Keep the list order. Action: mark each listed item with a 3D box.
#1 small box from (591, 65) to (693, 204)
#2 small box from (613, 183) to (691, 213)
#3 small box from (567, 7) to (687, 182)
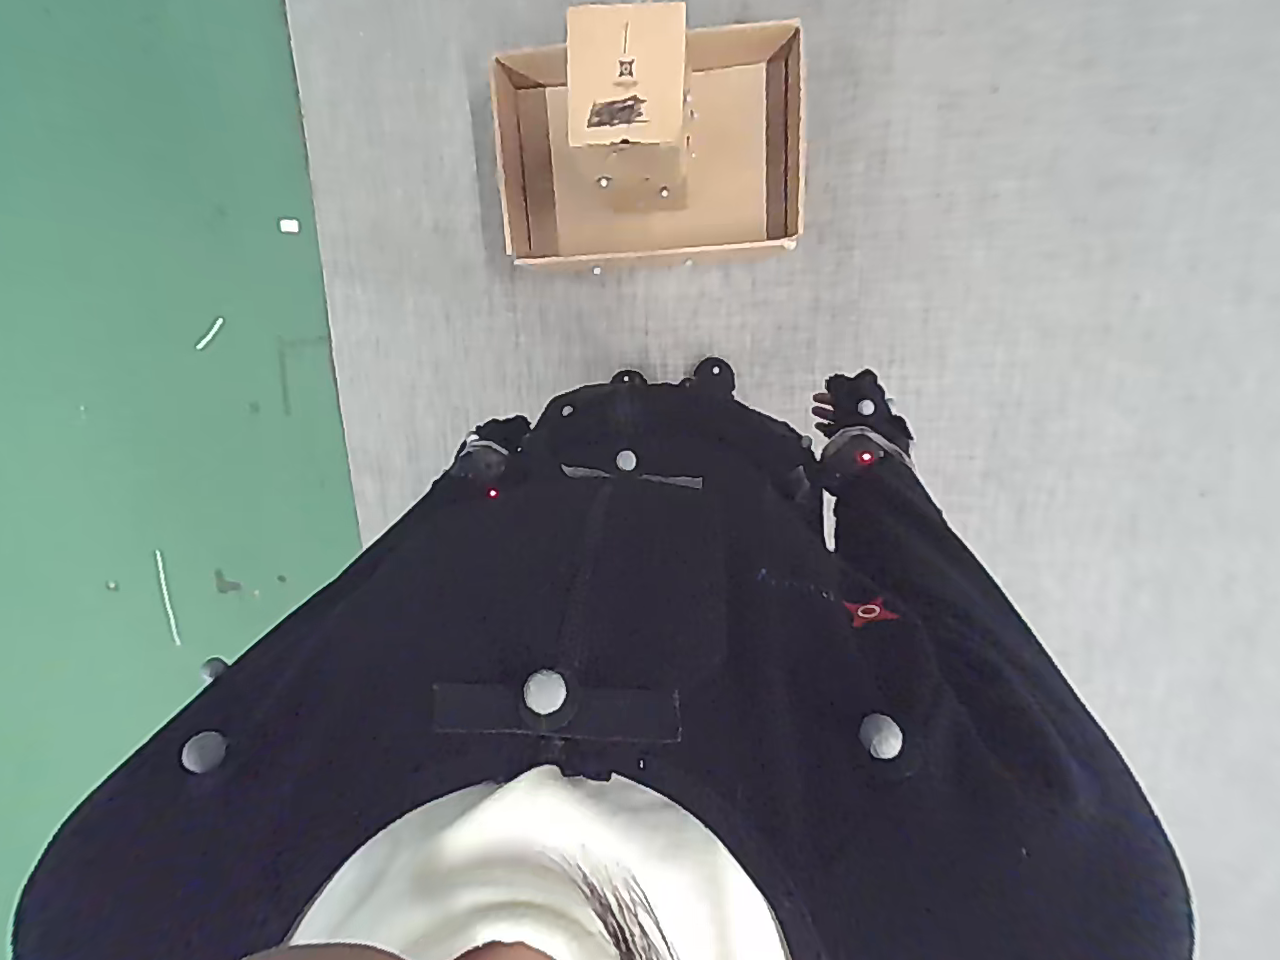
[{"bbox_3d":[0.004,-0.614,0.980,0.179,0.176,0.168,-2,103,6],"label":"small box"},{"bbox_3d":[0.016,-0.681,1.149,0.179,0.176,0.168,-3,102,6],"label":"small box"},{"bbox_3d":[-0.014,-0.579,0.837,0.168,0.176,0.179,2,102,5],"label":"small box"}]
